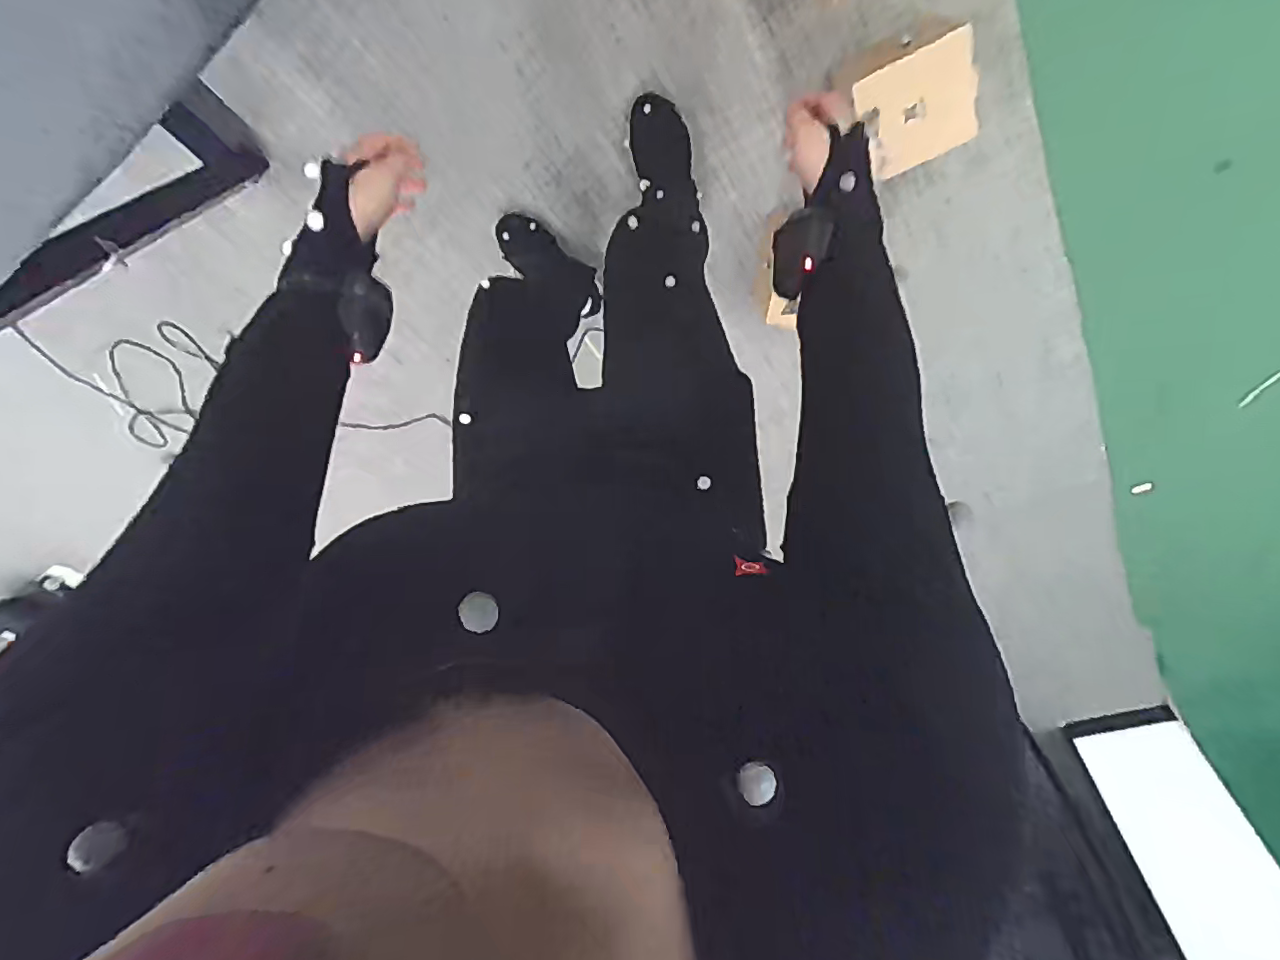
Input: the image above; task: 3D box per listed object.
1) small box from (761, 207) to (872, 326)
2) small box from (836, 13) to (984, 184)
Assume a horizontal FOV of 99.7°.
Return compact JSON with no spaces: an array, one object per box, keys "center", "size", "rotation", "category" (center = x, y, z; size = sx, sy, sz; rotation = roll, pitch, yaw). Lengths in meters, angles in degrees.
[{"center":[0.355,-0.446,1.129],"size":[0.168,0.176,0.179],"rotation":[3,134,0],"category":"small box"},{"center":[0.453,-0.649,0.918],"size":[0.179,0.176,0.168],"rotation":[-18,132,20],"category":"small box"}]
